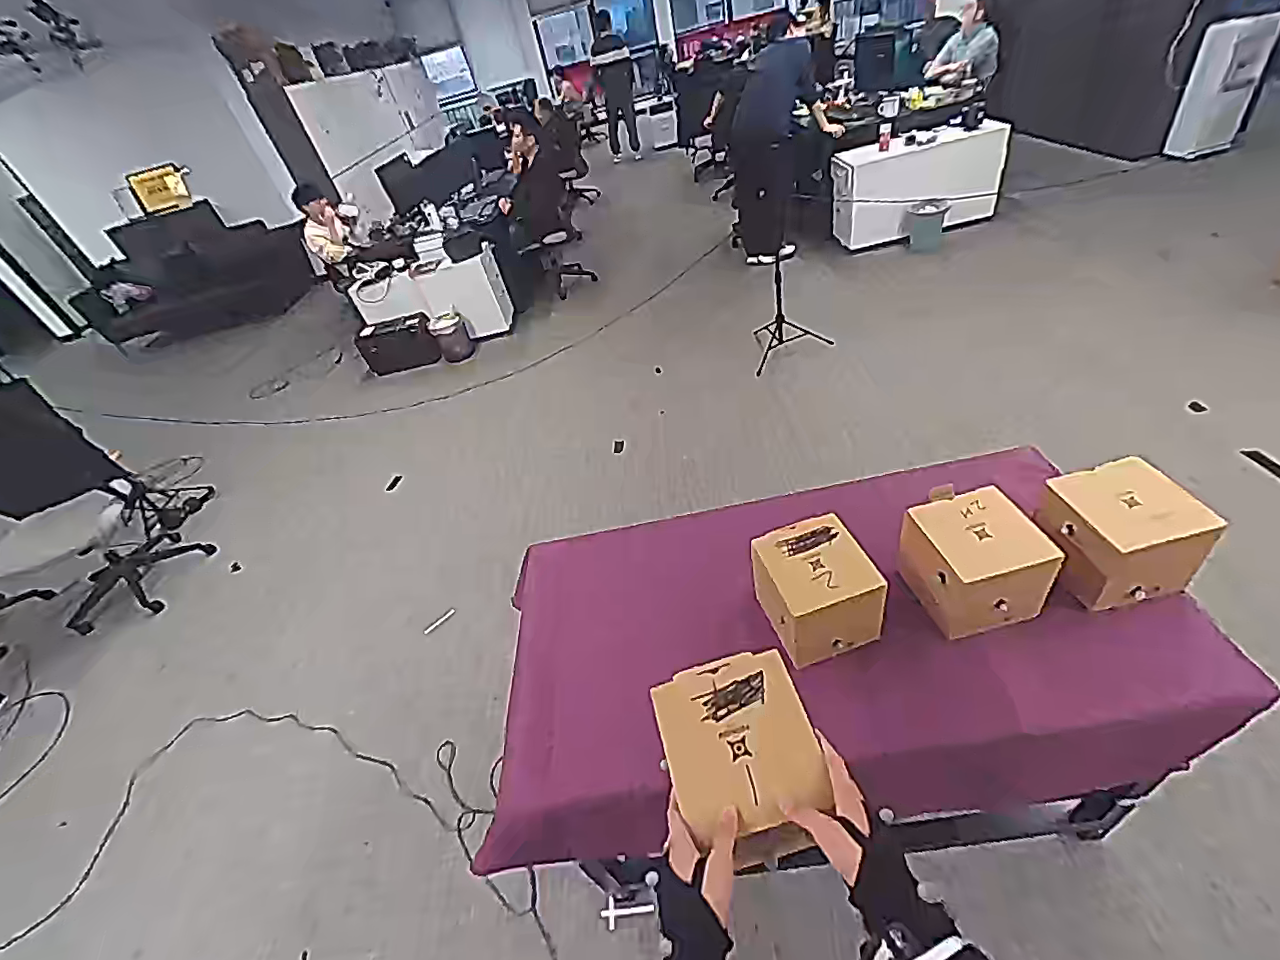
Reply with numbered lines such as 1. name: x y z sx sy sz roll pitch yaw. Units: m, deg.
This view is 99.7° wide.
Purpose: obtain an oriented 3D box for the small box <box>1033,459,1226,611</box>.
1. small box: 0.819 0.095 0.937 0.168 0.176 0.179 -16 39 3

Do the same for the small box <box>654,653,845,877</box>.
1. small box: 0.127 0.345 0.654 0.168 0.176 0.179 -18 46 0

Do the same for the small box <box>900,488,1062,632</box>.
1. small box: 0.586 0.147 0.957 0.168 0.176 0.179 -16 39 1
